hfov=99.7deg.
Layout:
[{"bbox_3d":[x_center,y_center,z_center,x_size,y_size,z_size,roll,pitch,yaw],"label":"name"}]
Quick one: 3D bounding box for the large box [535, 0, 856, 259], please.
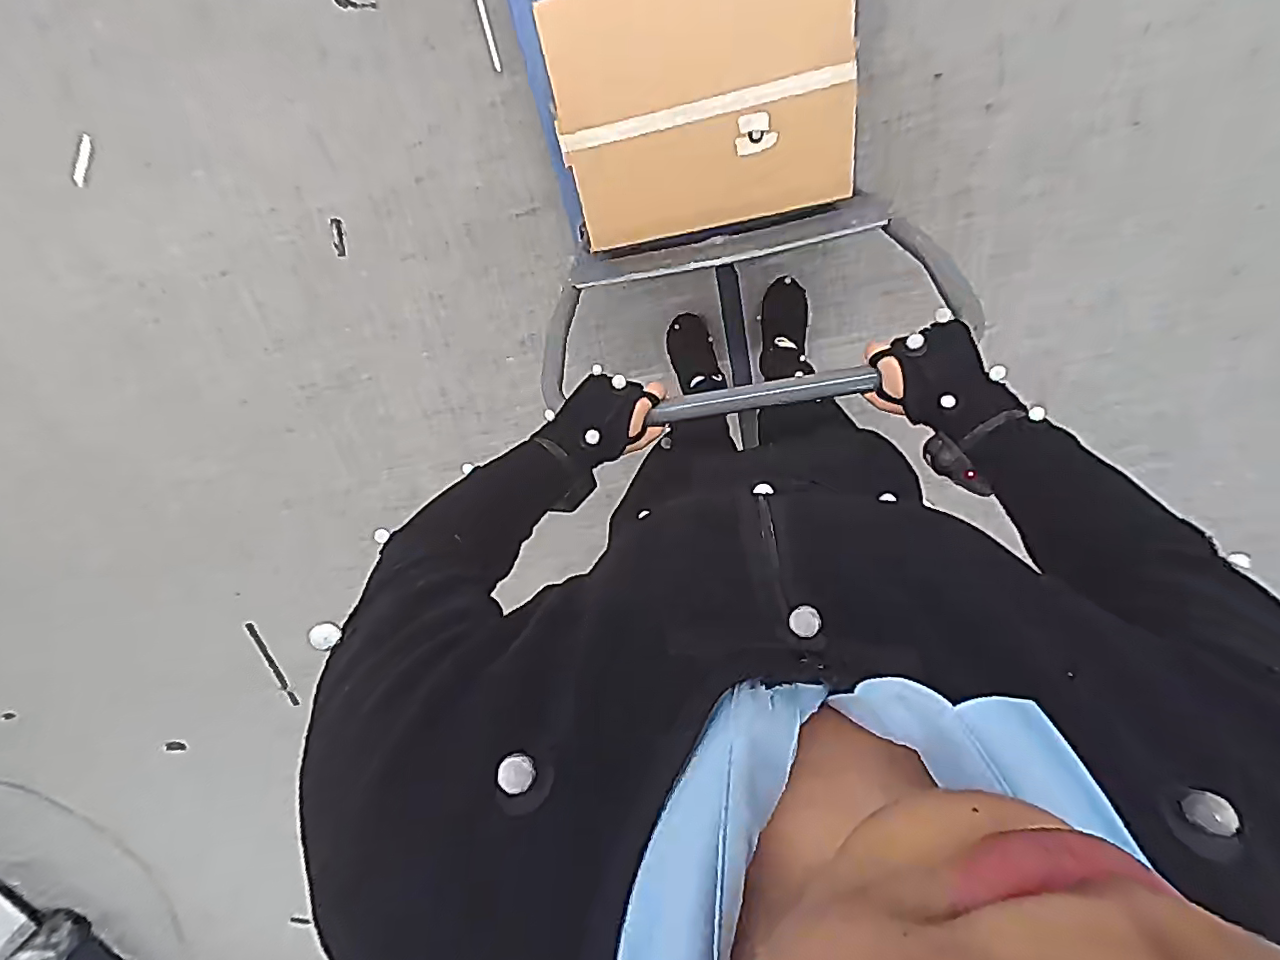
[{"bbox_3d":[0.093,-0.589,0.860,0.408,0.320,0.320,-9,126,9],"label":"large box"}]
